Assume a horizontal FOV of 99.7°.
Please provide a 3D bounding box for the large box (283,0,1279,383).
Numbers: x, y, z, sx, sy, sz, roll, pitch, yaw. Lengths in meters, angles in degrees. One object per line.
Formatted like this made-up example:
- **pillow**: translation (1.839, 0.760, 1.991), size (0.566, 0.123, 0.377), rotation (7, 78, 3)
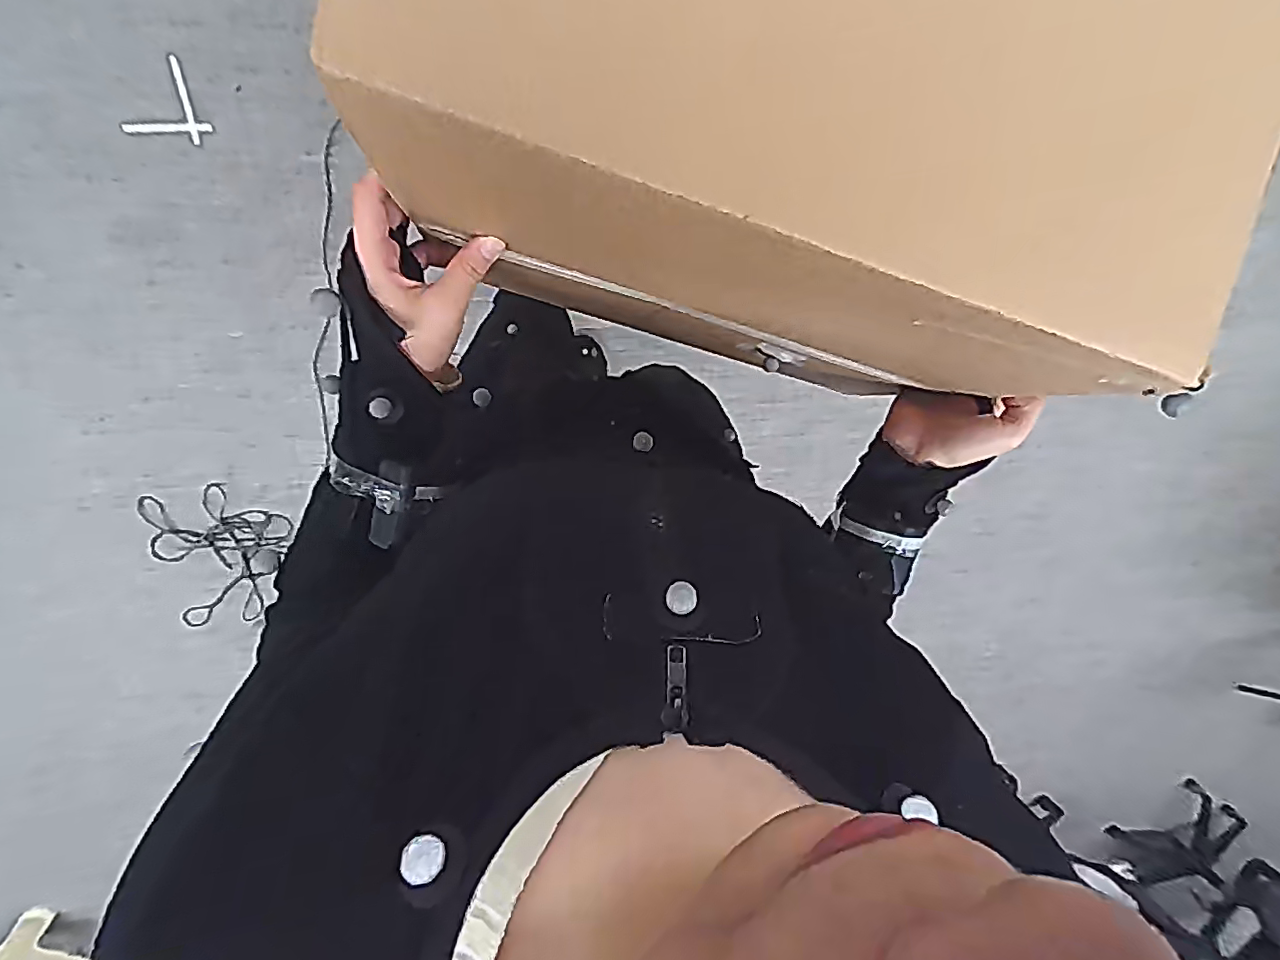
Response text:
- **large box**: translation (0.077, -0.266, 0.344), size (0.408, 0.320, 0.320), rotation (12, 98, -12)
